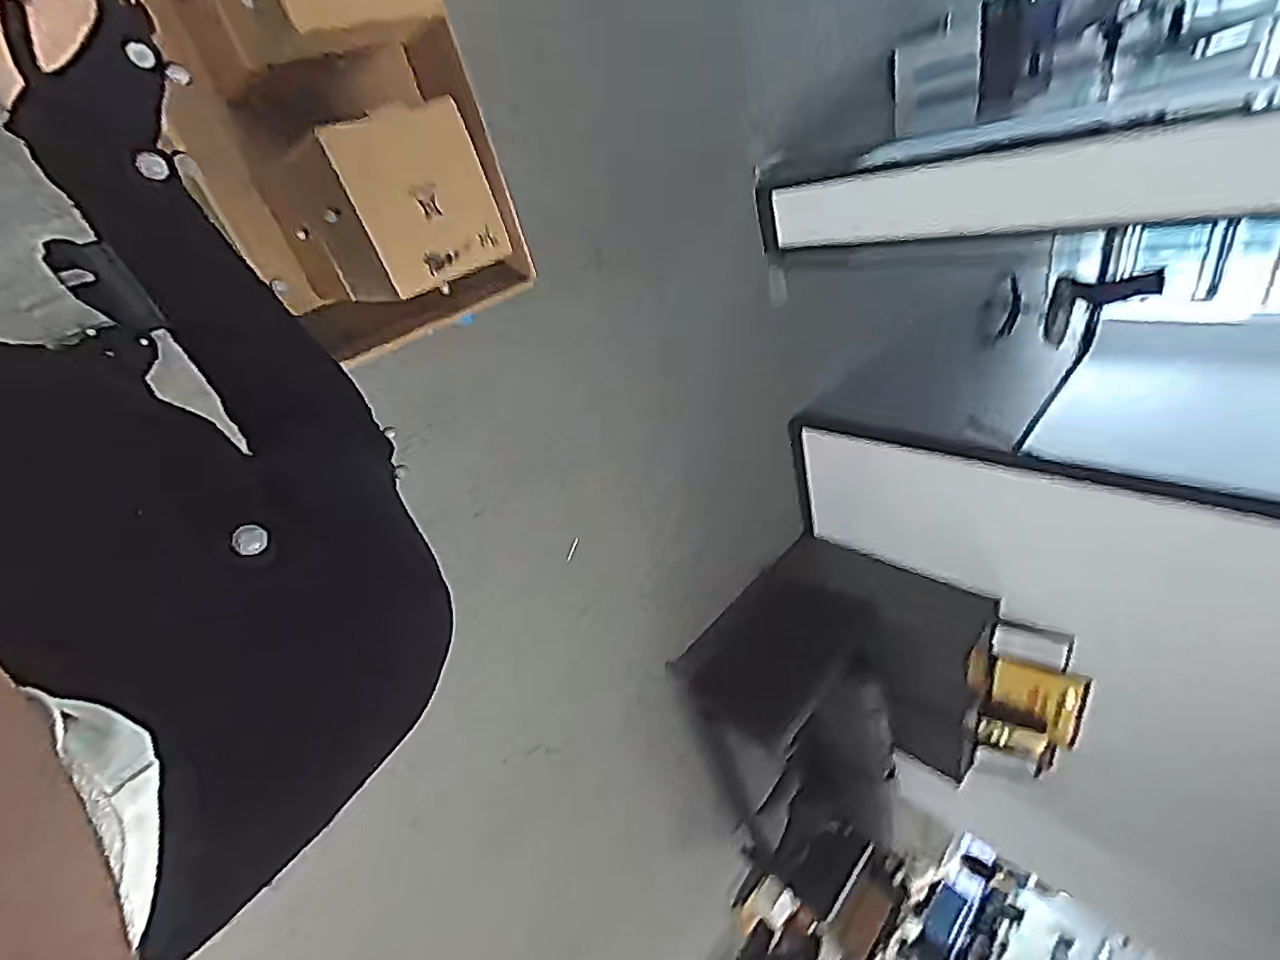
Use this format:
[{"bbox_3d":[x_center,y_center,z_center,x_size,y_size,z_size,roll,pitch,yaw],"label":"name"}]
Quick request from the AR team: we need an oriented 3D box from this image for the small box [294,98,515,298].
[{"bbox_3d":[-0.295,-0.340,0.676,0.168,0.176,0.179,-37,125,-28],"label":"small box"}]
